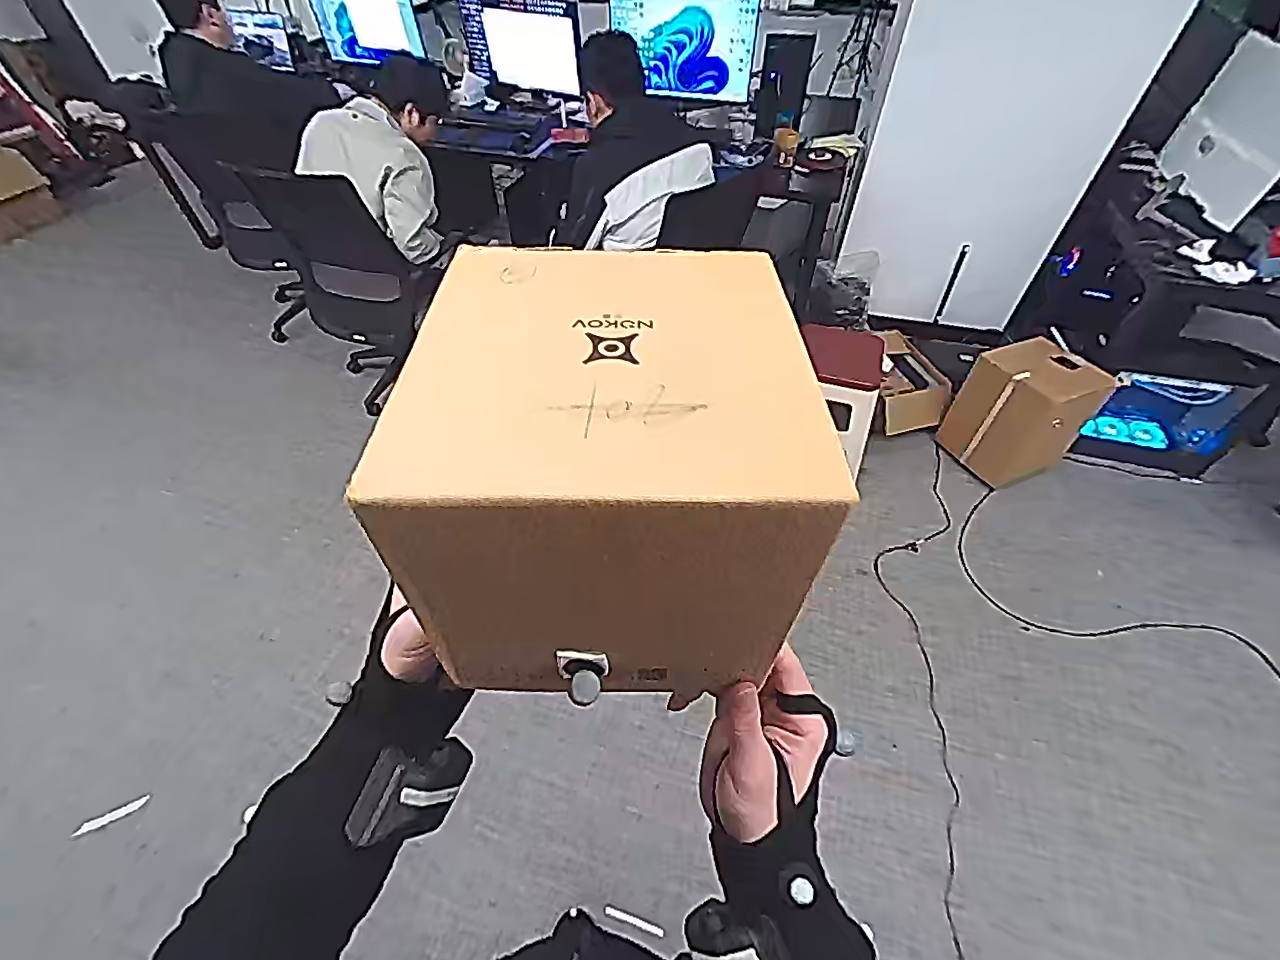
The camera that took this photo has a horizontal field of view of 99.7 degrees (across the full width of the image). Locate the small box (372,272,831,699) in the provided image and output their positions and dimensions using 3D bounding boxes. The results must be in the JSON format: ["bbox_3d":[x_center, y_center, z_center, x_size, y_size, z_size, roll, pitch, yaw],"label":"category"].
[{"bbox_3d":[-0.015,0.003,0.304,0.168,0.176,0.179,-1,47,-1],"label":"small box"}]
